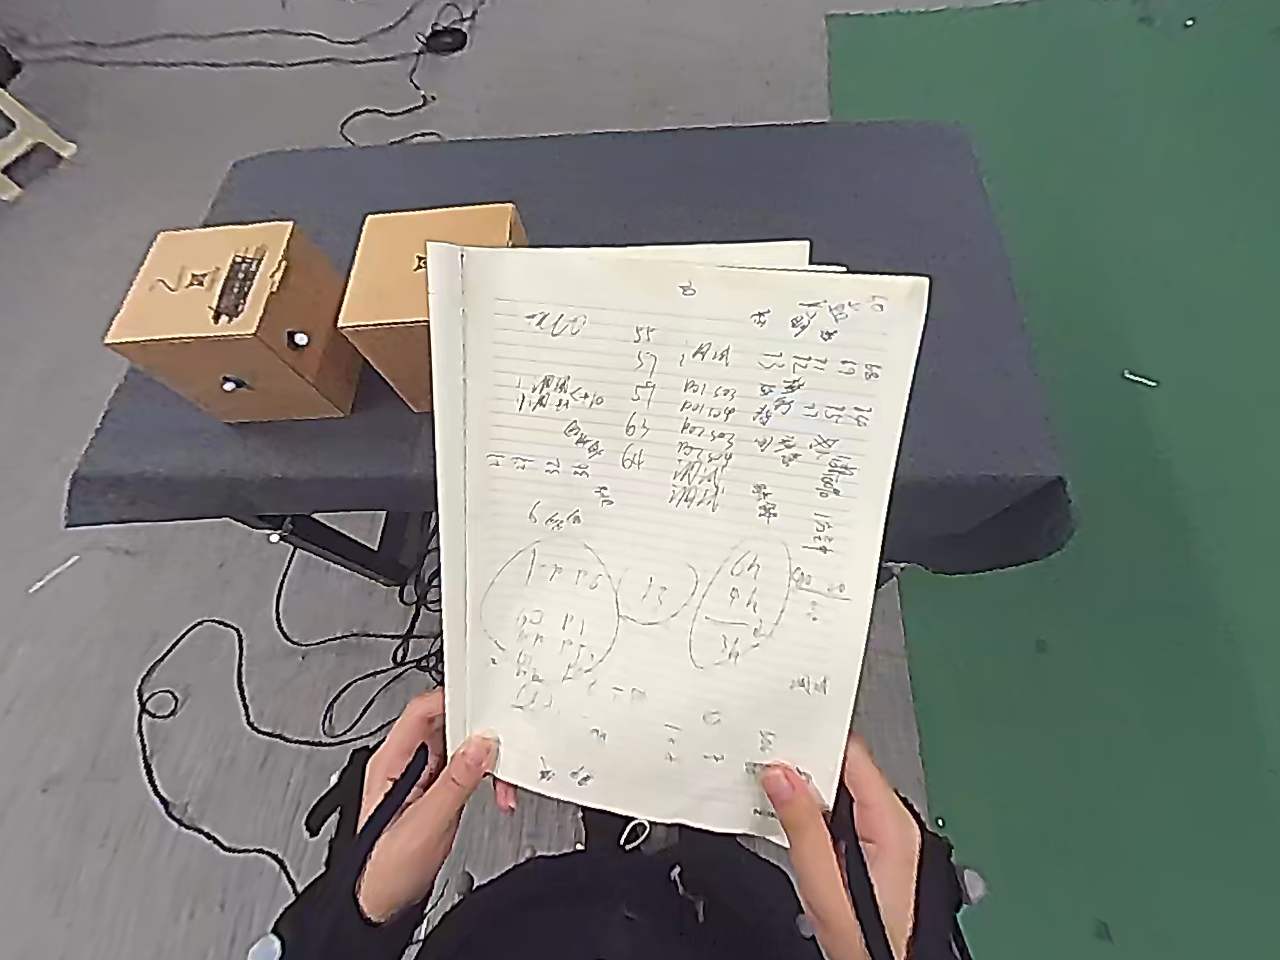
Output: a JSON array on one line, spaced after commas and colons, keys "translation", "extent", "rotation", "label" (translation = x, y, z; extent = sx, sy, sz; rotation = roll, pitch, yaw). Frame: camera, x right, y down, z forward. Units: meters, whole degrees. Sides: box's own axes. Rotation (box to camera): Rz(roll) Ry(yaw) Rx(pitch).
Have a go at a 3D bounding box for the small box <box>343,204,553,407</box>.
[{"translation": [-0.216, -0.201, 0.657], "extent": [0.179, 0.176, 0.168], "rotation": [-3, 65, 4], "label": "small box"}]
